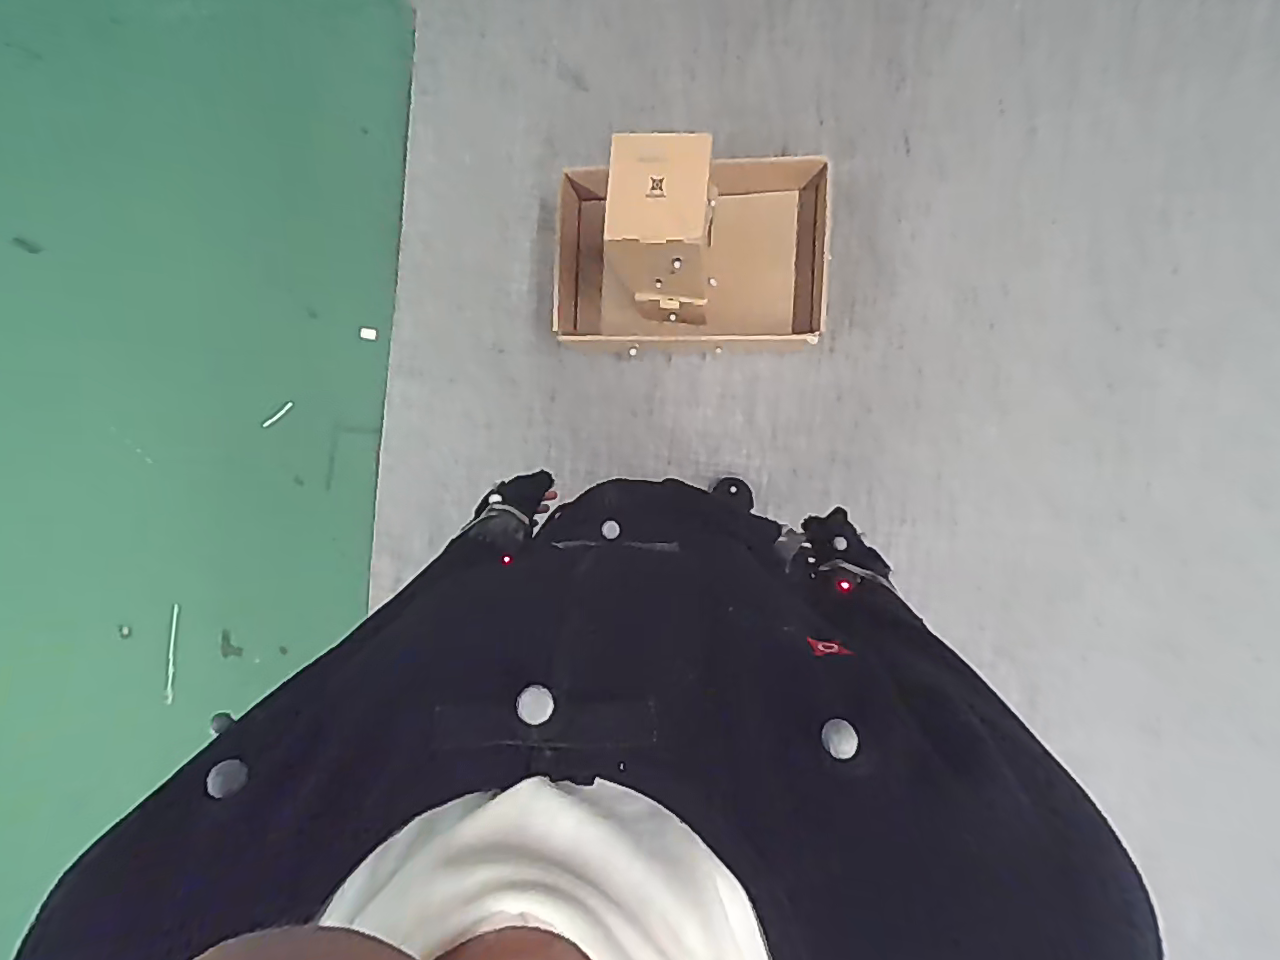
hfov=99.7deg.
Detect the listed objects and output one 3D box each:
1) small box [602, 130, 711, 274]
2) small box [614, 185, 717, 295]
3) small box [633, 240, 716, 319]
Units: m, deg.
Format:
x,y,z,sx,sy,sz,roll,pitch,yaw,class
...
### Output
x,y,z,sx,sy,sz,roll,pitch,yaw,class
0.036,-0.482,0.959,0.168,0.176,0.179,6,91,7,small box
0.061,-0.496,1.118,0.179,0.176,0.168,11,93,9,small box
0.087,-0.491,1.281,0.168,0.176,0.179,9,94,8,small box
